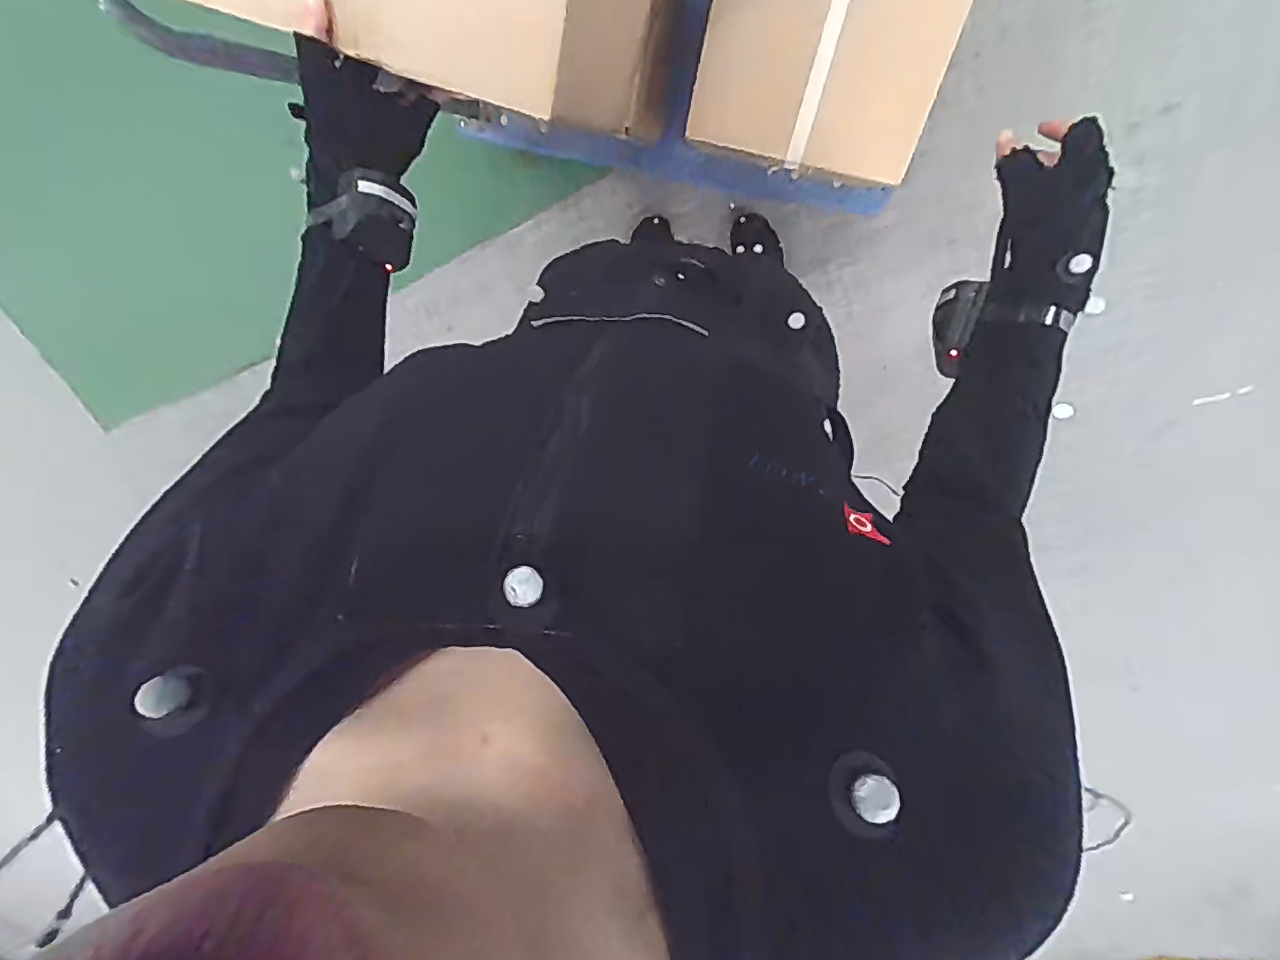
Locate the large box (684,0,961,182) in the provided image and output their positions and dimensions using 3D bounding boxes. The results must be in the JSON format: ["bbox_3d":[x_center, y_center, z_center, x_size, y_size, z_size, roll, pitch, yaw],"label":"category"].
[{"bbox_3d":[0.273,-0.693,0.795,0.320,0.320,0.408,15,120,3],"label":"large box"}]
